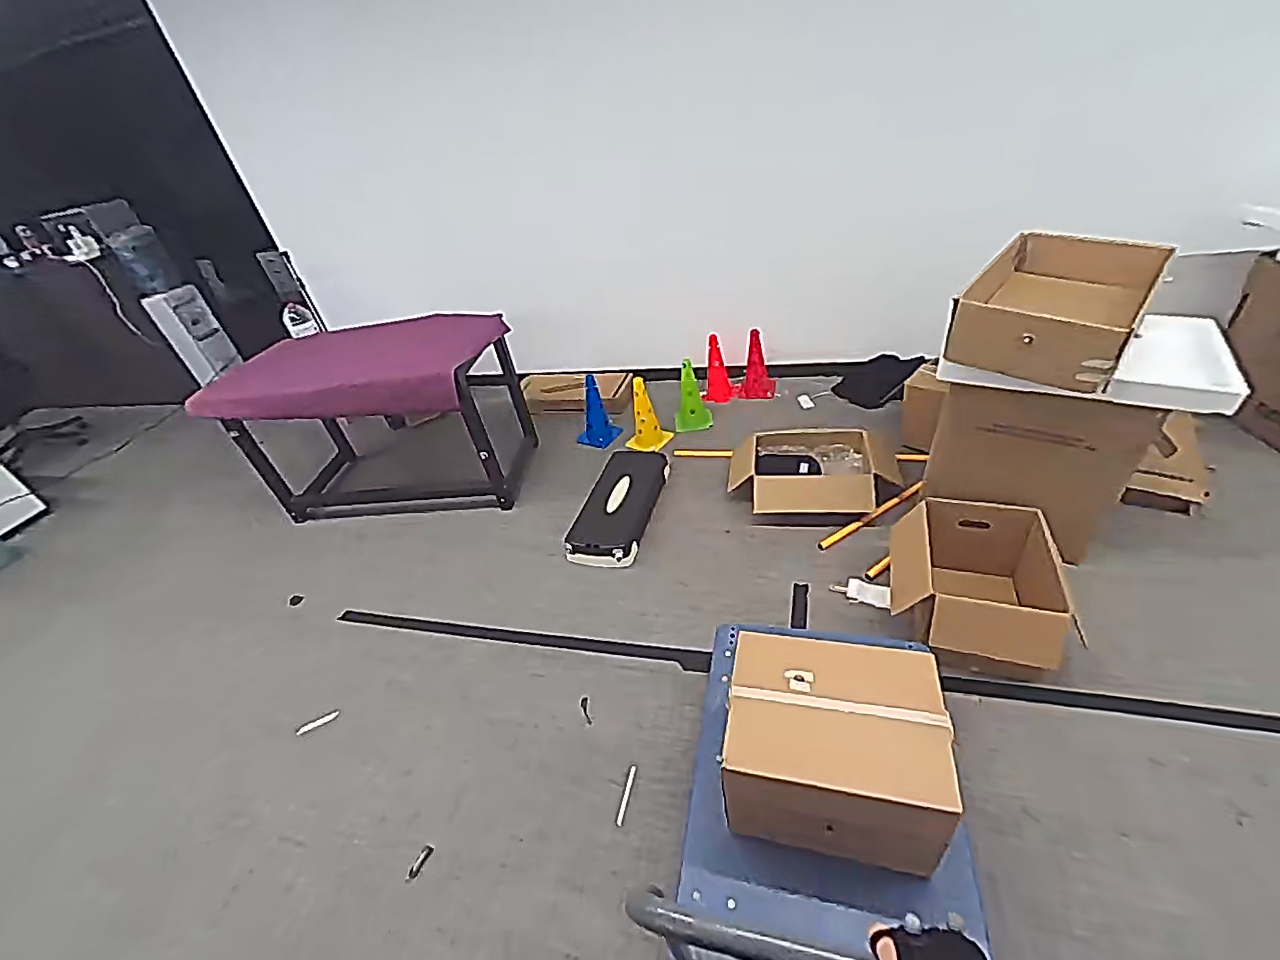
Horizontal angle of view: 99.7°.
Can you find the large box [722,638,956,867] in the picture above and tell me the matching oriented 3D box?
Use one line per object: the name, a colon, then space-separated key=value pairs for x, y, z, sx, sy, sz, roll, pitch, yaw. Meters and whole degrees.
large box: x=0.405 y=0.576 z=1.168 sx=0.408 sy=0.320 sz=0.320 roll=1 pitch=37 yaw=17
